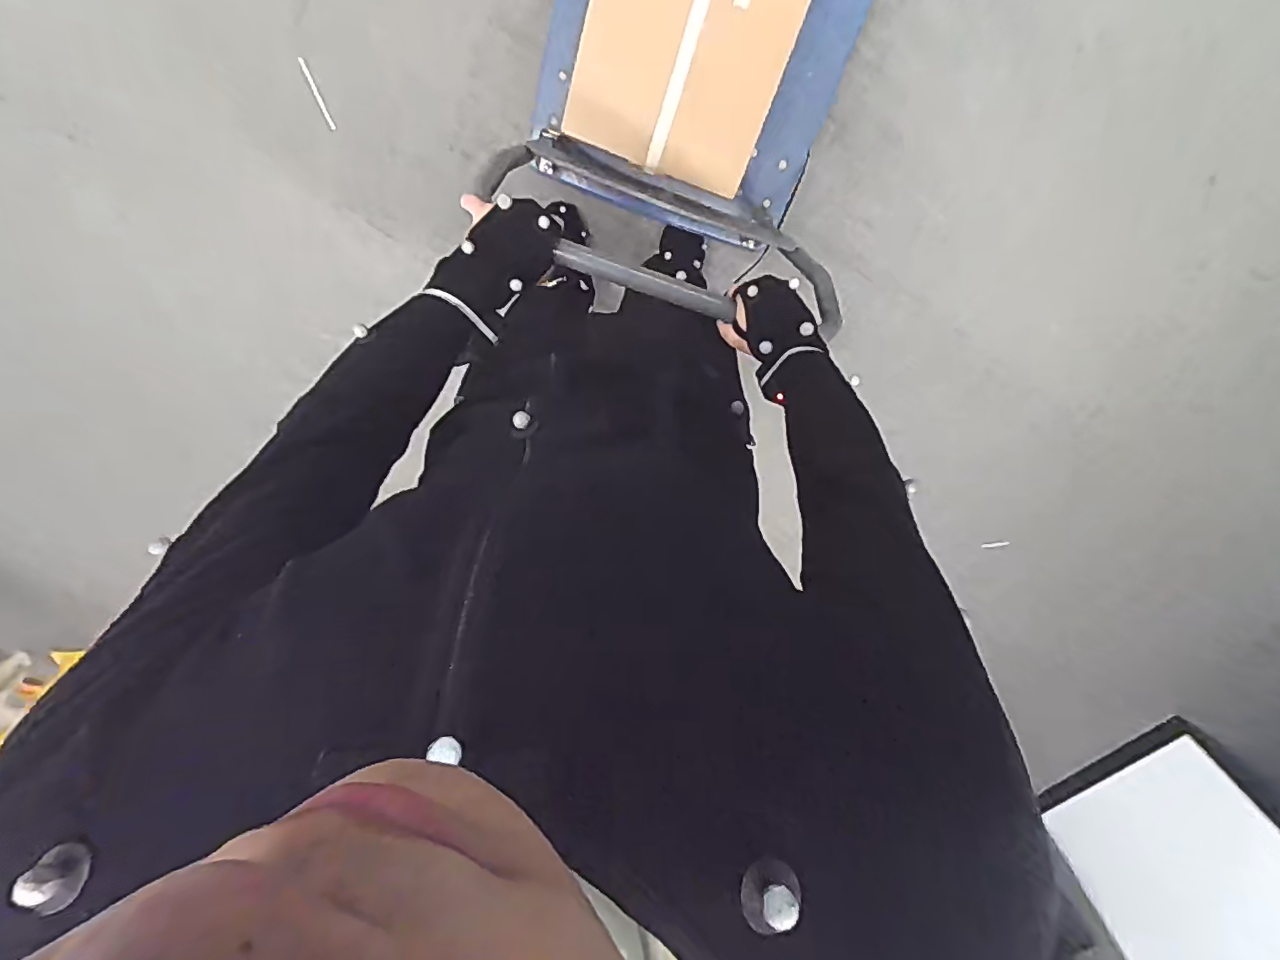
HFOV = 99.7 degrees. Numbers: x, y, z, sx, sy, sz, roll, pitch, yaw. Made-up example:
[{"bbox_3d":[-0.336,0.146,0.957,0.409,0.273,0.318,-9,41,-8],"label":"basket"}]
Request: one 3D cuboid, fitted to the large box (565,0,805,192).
[{"bbox_3d":[0.078,-0.778,0.957,0.320,0.320,0.408,16,119,-10],"label":"large box"}]
